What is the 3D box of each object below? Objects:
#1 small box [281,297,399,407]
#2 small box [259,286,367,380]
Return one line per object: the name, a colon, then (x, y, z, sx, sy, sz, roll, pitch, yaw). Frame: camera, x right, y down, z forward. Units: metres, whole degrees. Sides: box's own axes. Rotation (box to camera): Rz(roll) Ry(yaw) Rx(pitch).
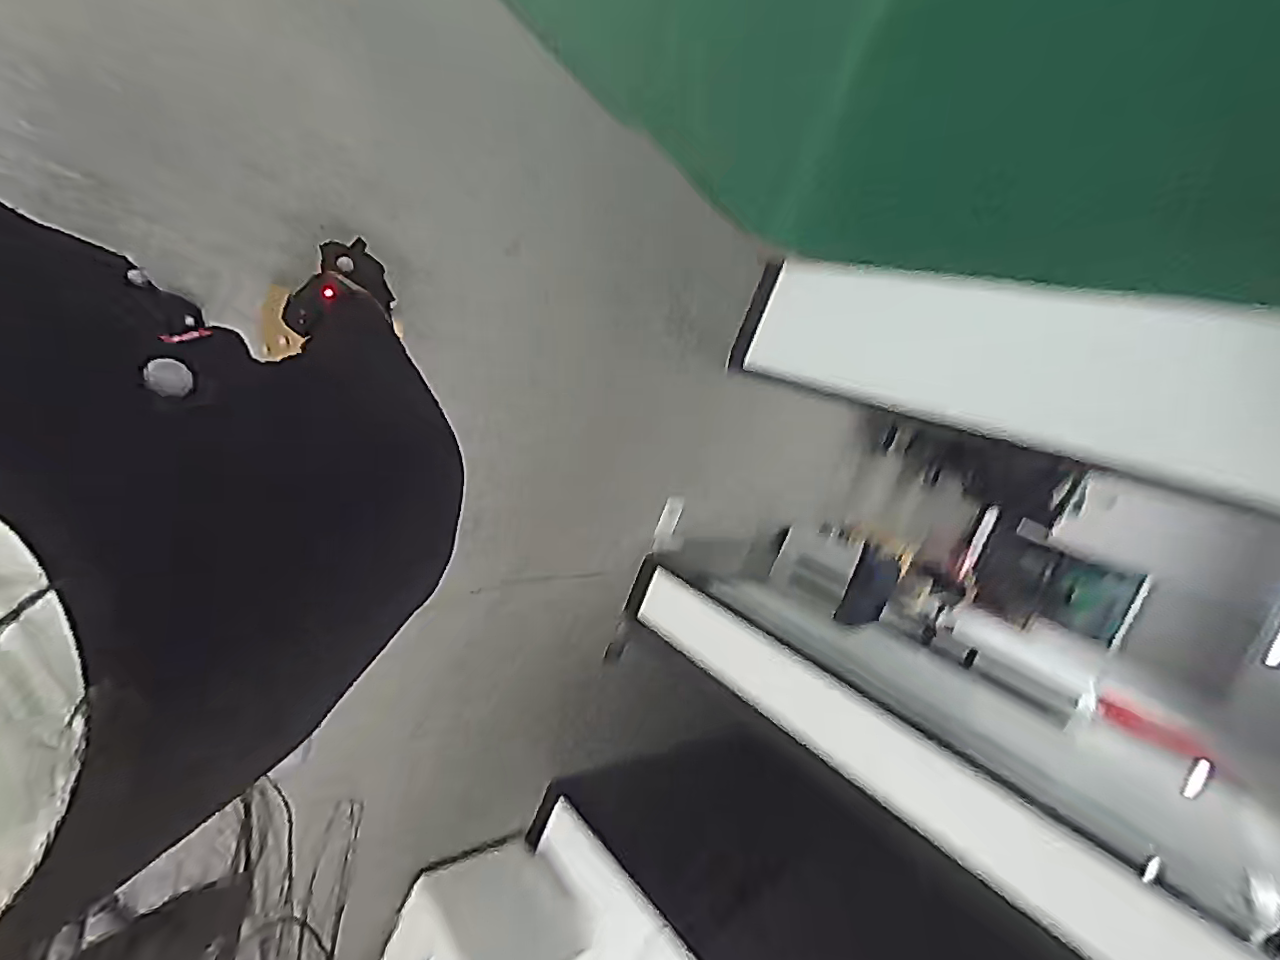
small box: (-0.607, -0.256, 1.087, 0.168, 0.176, 0.179, -4, 112, -45)
small box: (-0.719, -0.314, 1.188, 0.168, 0.176, 0.179, -2, 110, -48)
